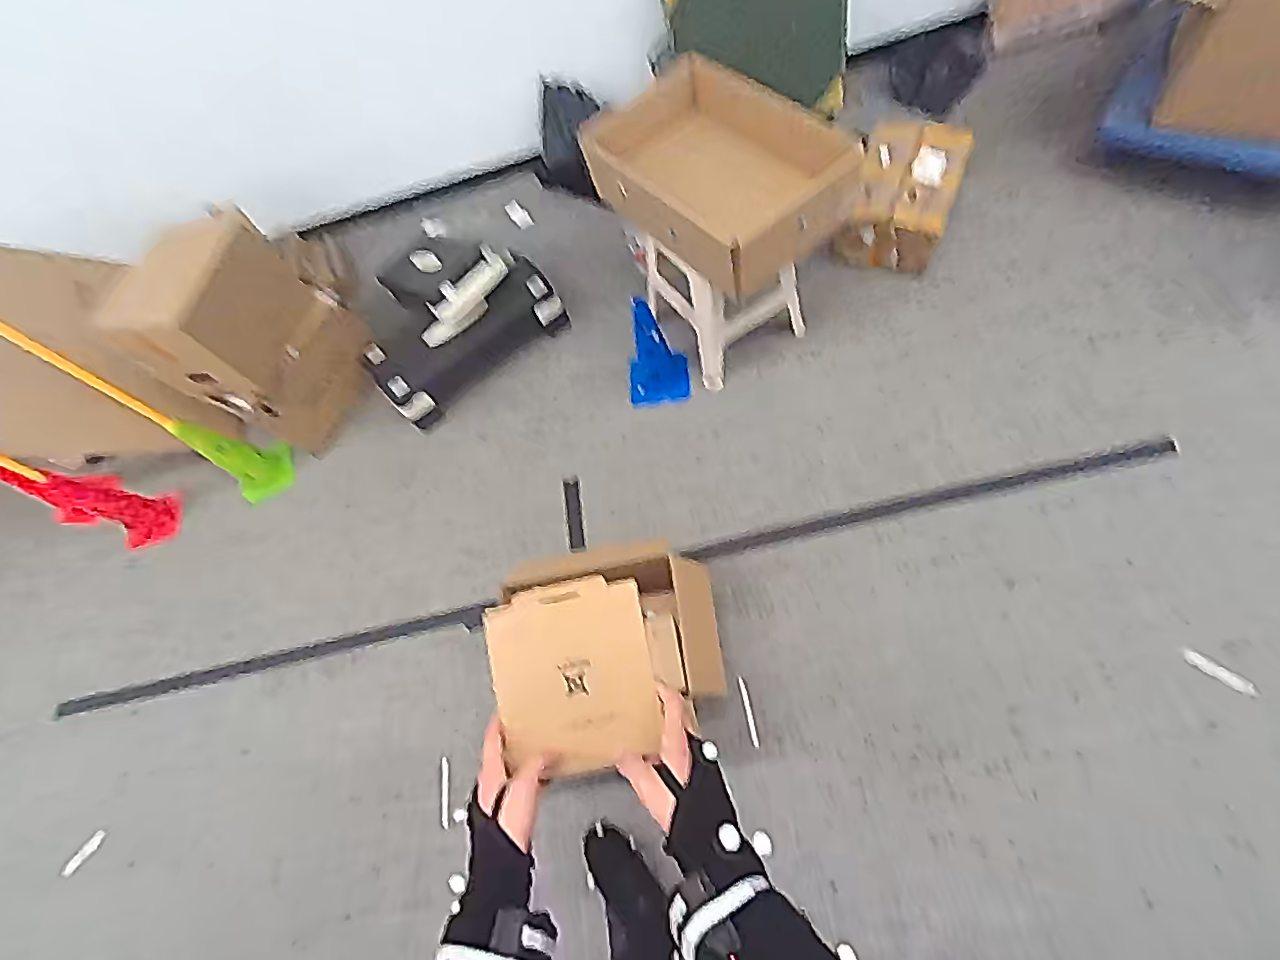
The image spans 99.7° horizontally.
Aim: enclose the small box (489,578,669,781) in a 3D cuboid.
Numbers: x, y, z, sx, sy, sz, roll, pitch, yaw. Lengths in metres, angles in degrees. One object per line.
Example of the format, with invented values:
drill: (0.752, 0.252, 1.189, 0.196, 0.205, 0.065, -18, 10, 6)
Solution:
small box: (-0.067, 0.221, 0.636, 0.168, 0.176, 0.179, -11, 78, -3)
